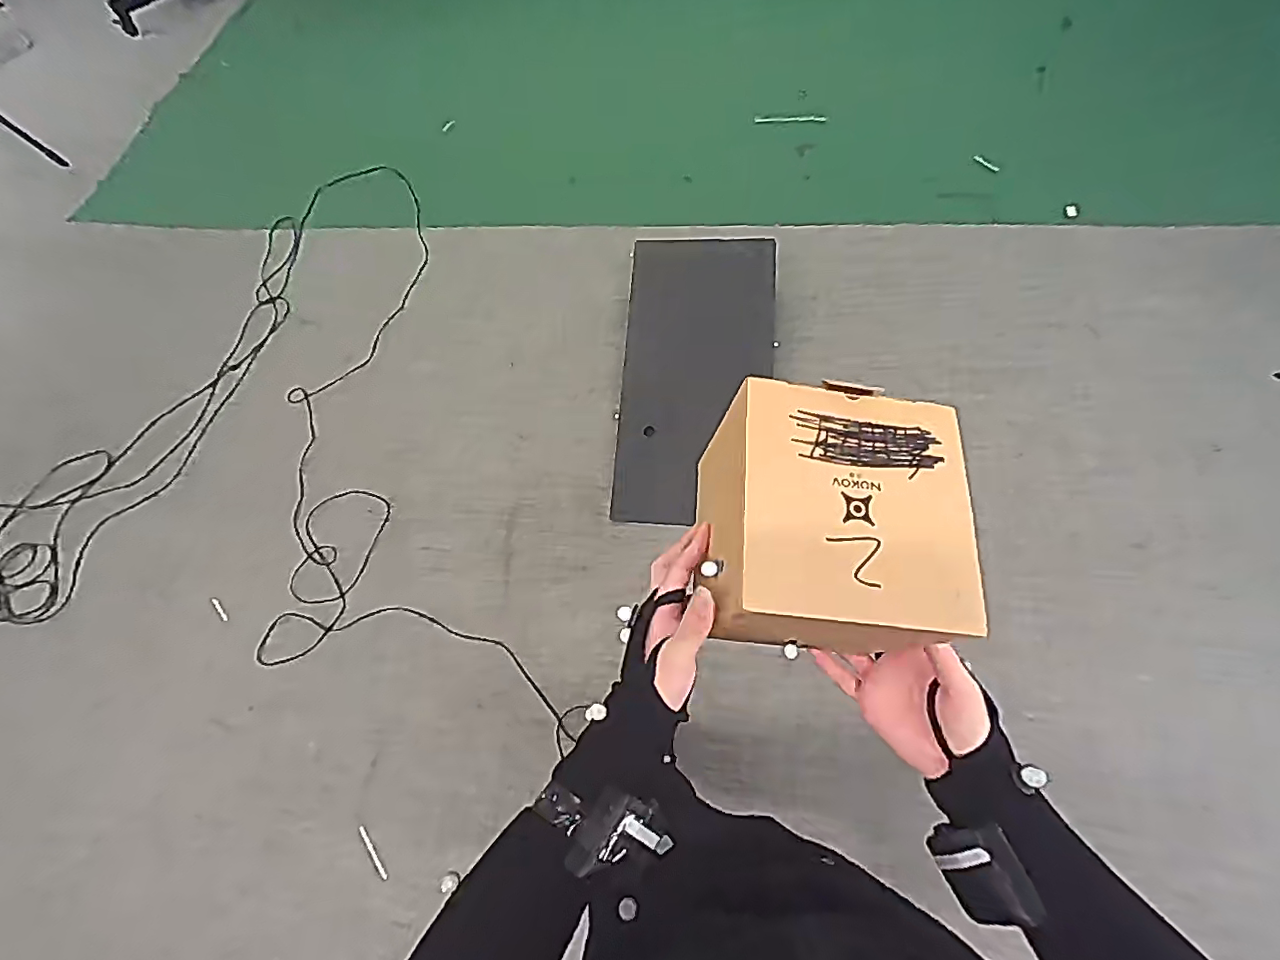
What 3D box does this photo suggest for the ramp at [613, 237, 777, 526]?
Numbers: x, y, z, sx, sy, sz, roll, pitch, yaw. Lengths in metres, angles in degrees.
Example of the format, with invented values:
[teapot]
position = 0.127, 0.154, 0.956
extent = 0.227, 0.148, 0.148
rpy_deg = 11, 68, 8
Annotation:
[ramp]
position = 0.193, -0.353, 1.757
extent = 0.509, 0.206, 0.991
rpy_deg = 1, 66, 6
